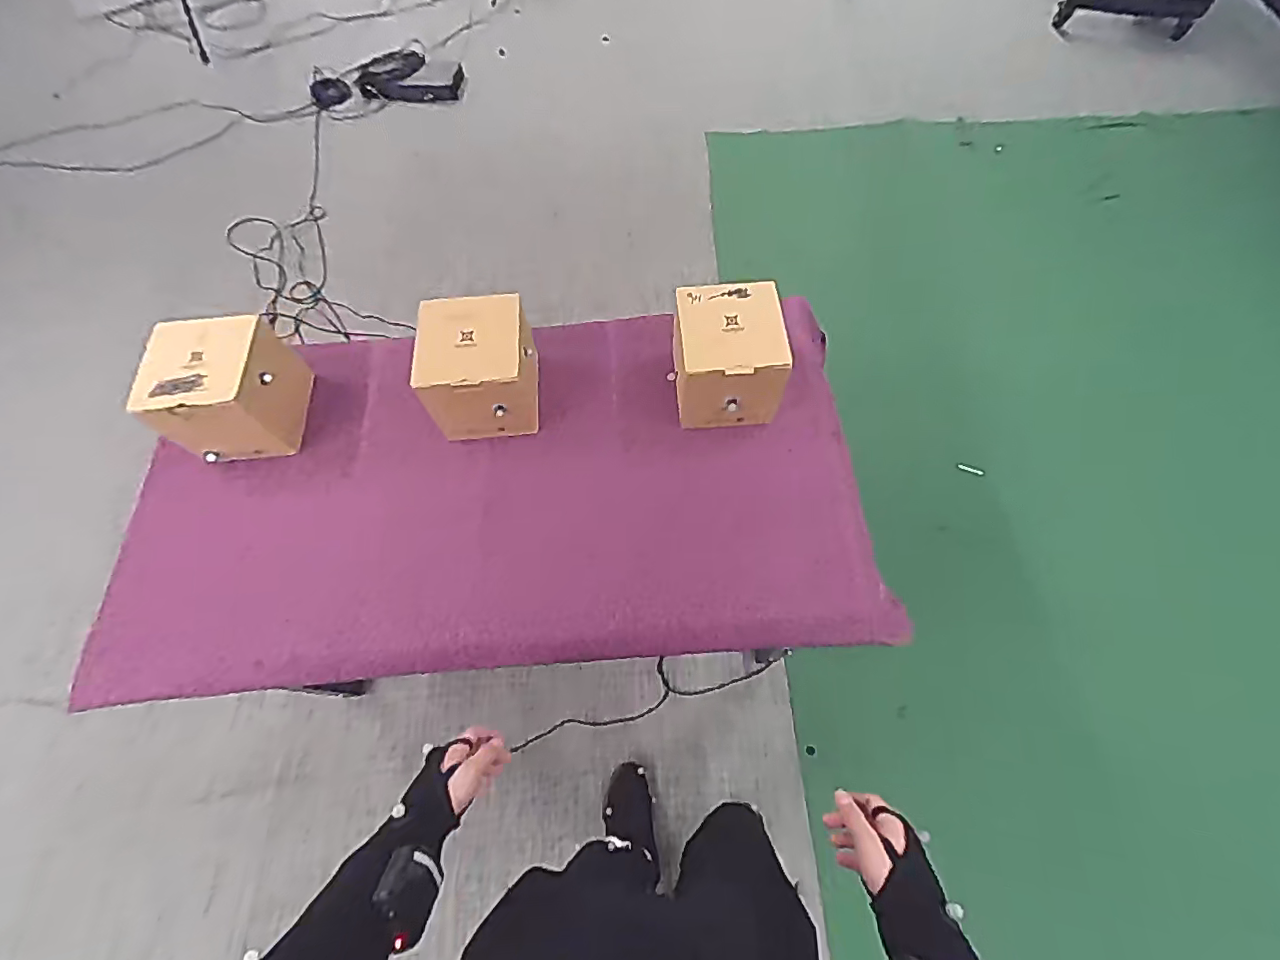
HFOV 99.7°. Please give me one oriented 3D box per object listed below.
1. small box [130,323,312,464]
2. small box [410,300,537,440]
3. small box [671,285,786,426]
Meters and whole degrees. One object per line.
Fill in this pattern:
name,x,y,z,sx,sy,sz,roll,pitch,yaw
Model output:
small box,-0.696,-0.138,0.924,0.168,0.176,0.179,-6,64,-1
small box,-0.274,-0.180,0.931,0.168,0.176,0.179,-5,64,-1
small box,0.141,-0.203,0.925,0.168,0.176,0.179,-4,65,0
